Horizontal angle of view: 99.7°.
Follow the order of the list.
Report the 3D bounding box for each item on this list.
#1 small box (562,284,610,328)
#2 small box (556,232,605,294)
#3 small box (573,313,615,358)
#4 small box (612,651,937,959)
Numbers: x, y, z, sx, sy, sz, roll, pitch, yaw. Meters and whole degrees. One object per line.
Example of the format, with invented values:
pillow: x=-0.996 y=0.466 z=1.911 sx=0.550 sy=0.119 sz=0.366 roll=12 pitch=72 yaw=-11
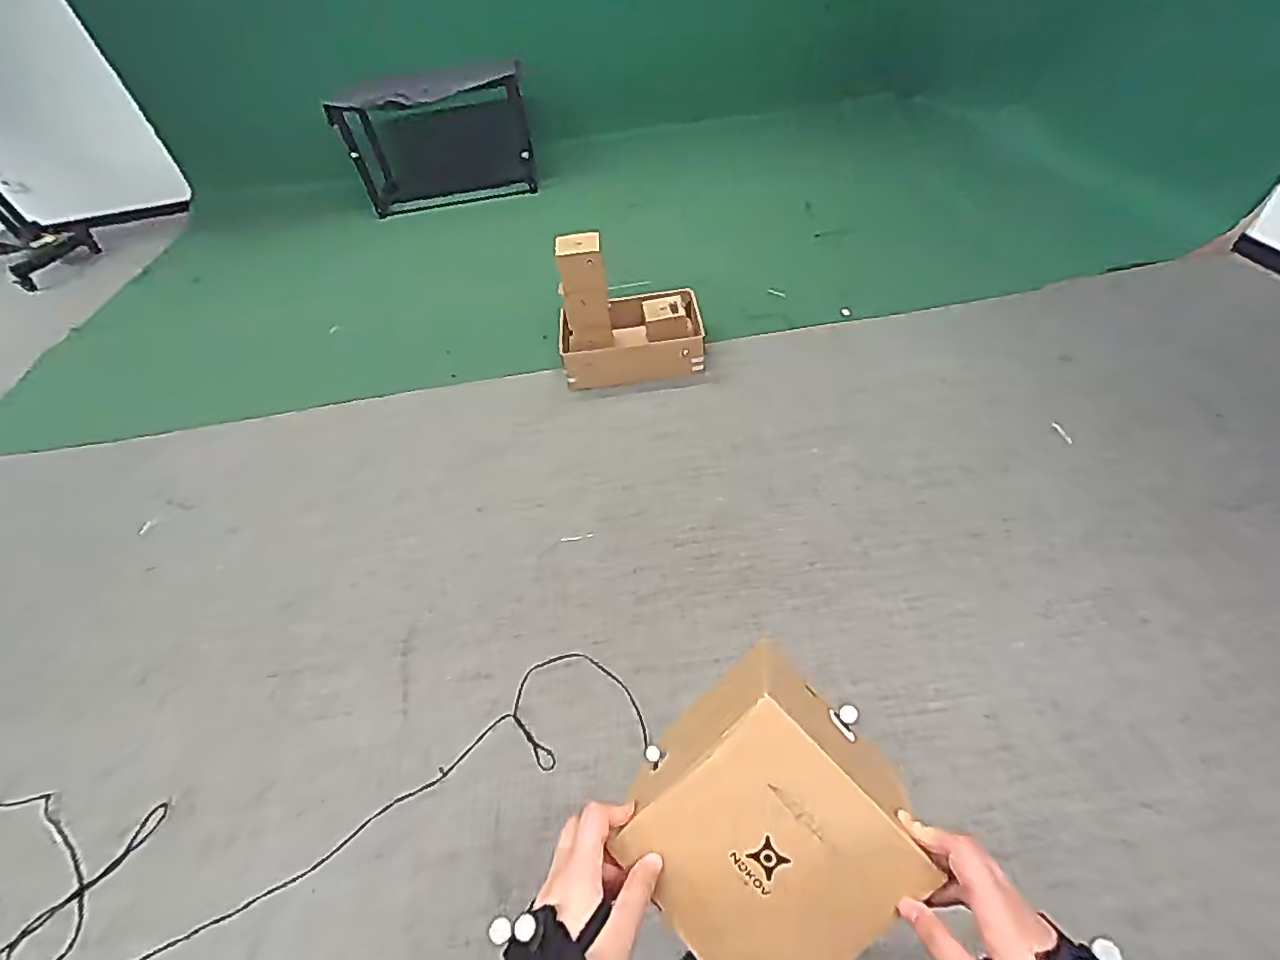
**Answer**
small box: x=-0.228 y=-0.765 z=2.309 sx=0.179 sy=0.176 sz=0.168 roll=-7 pitch=49 yaw=1
small box: x=-0.234 y=-0.873 z=2.183 sx=0.179 sy=0.176 sz=0.168 roll=-7 pitch=48 yaw=1
small box: x=-0.207 y=-0.666 z=2.438 sx=0.168 sy=0.176 sz=0.179 roll=-8 pitch=49 yaw=1
small box: x=0.107 y=0.283 z=0.469 sx=0.168 sy=0.176 sz=0.179 roll=43 pitch=96 yaw=9
